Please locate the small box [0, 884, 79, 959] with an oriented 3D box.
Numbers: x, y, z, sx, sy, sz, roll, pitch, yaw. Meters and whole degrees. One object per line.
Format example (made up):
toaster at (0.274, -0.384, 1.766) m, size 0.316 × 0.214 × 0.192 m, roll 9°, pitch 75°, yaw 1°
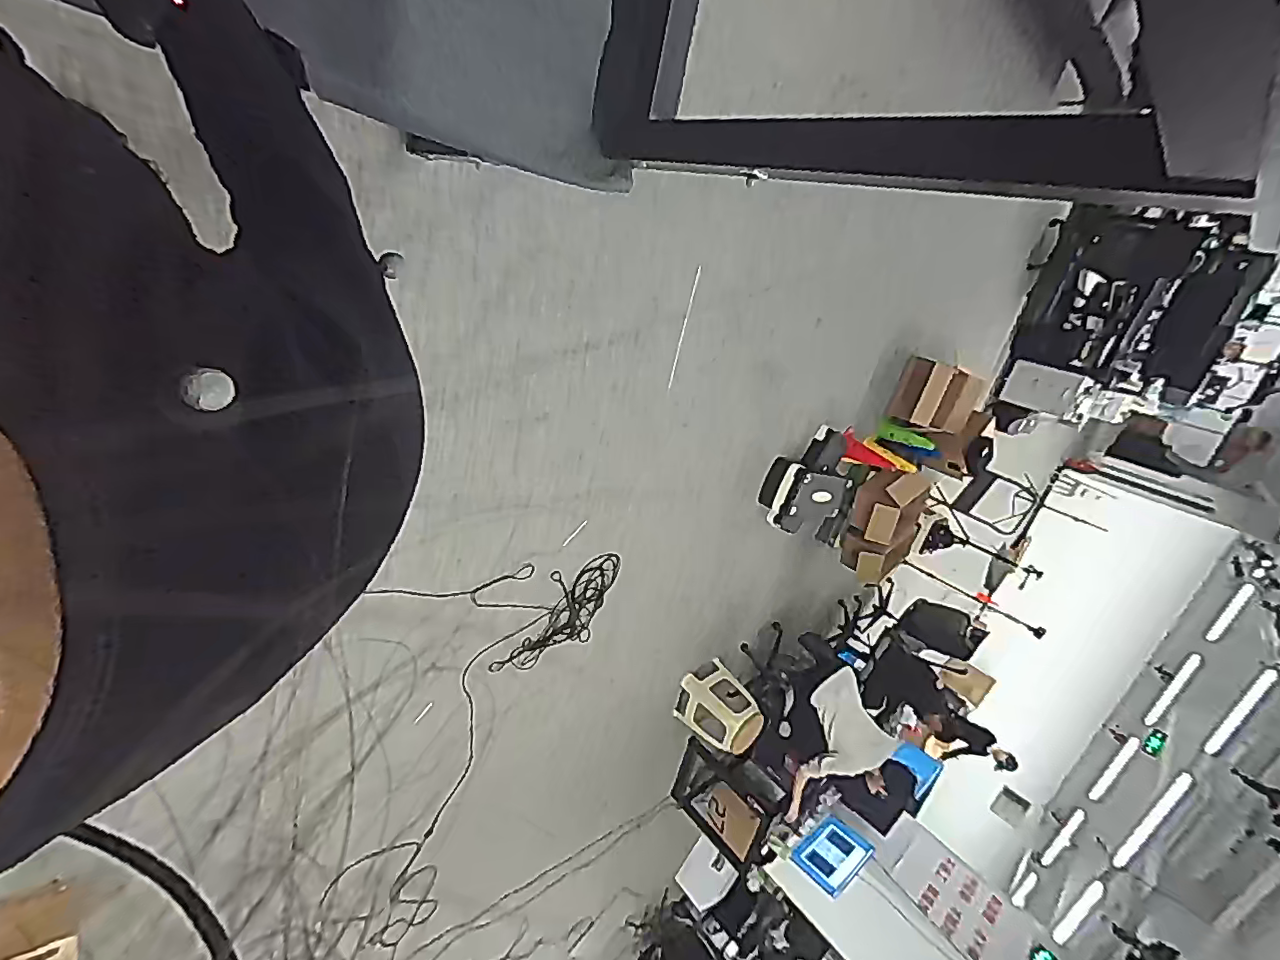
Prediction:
small box at (-1.543, 1.173, 1.365) m, size 0.168 × 0.176 × 0.179 m, roll 4°, pitch 112°, yaw -46°
